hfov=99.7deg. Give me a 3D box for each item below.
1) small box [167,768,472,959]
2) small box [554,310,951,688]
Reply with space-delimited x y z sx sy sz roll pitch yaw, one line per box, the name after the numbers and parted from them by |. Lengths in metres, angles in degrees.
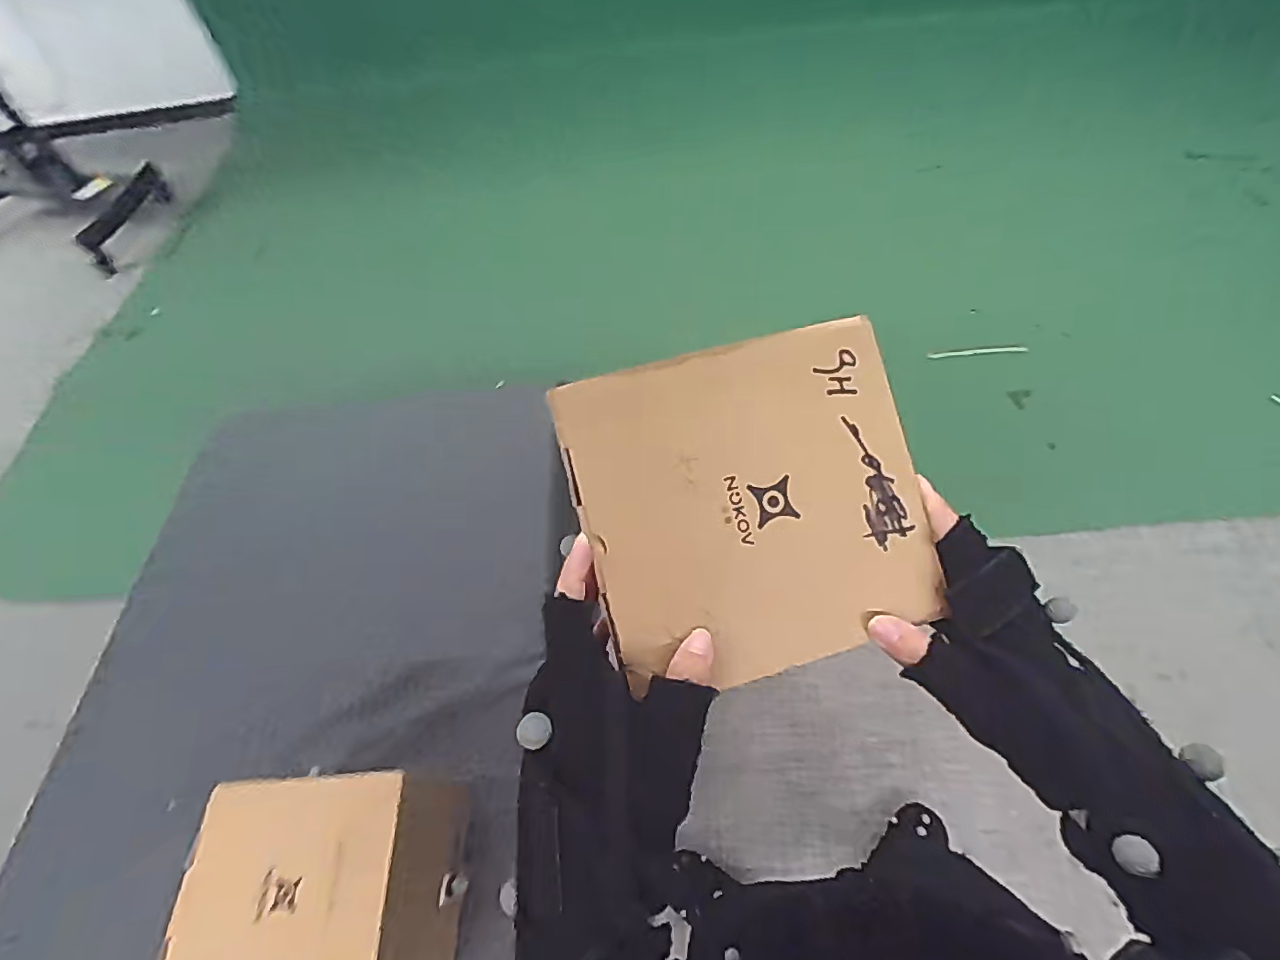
-0.277 0.373 0.503 0.179 0.176 0.168 -7 59 2 | small box
0.053 0.016 0.362 0.179 0.176 0.168 -16 84 -8 | small box
